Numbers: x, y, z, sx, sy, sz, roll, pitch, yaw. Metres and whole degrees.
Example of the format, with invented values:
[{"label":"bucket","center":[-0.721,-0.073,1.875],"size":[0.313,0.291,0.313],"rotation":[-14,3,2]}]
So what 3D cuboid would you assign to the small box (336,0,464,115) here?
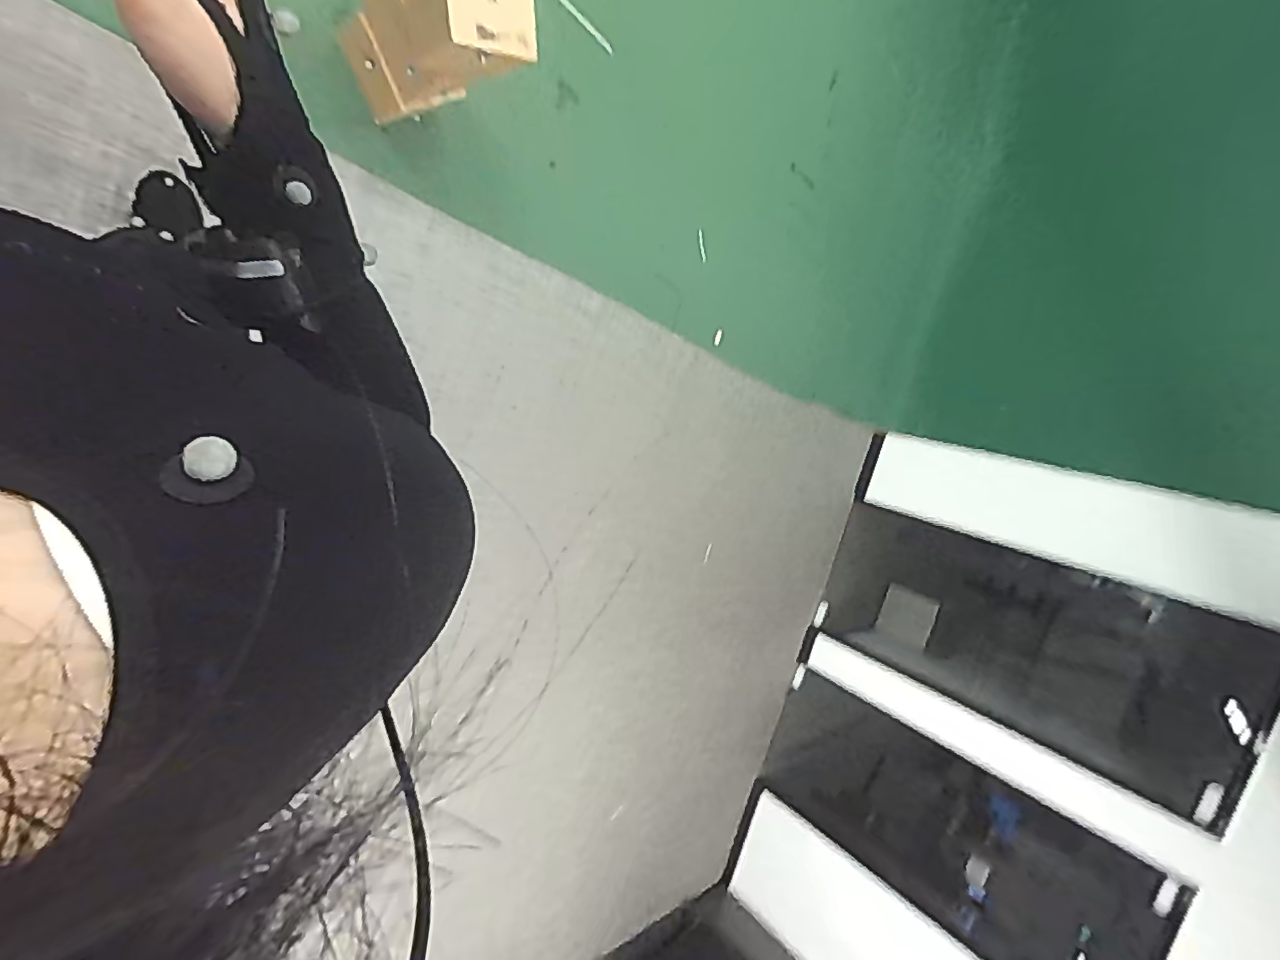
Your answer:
[{"label":"small box","center":[-0.521,-0.919,1.176],"size":[0.168,0.176,0.179],"rotation":[-39,130,-26]}]

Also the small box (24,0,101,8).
[{"label":"small box","center":[-0.256,-0.251,0.124],"size":[0.168,0.176,0.179],"rotation":[-11,126,-38]}]

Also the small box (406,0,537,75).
[{"label":"small box","center":[-0.300,-0.844,0.944],"size":[0.168,0.176,0.179],"rotation":[-21,120,-37]}]
